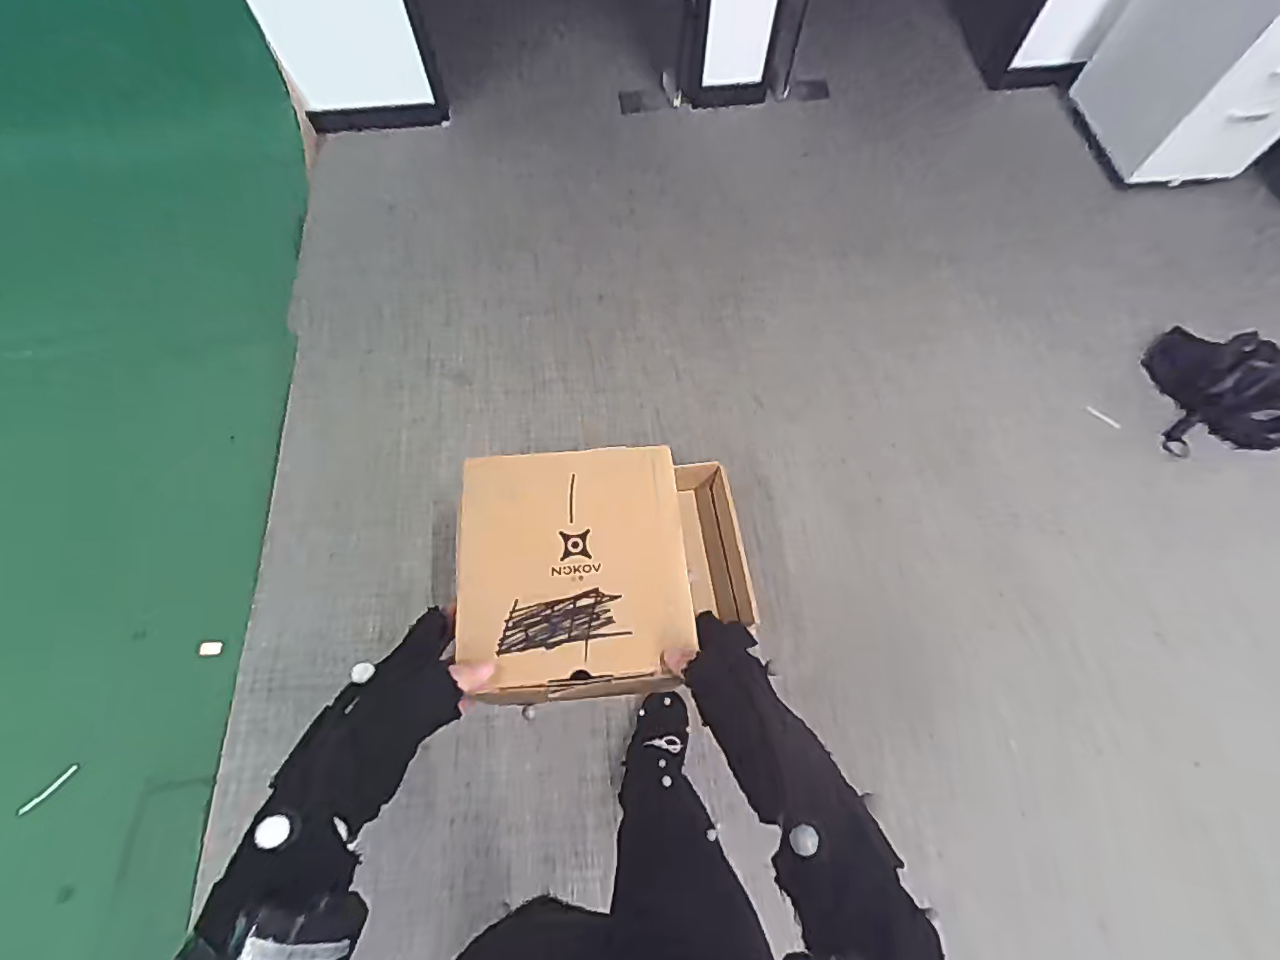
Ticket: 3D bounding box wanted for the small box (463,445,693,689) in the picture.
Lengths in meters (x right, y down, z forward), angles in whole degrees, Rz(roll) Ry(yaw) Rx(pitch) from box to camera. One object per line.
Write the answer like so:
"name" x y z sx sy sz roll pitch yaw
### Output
"small box" -0.051 0.088 0.484 0.168 0.176 0.179 -4 65 -5
